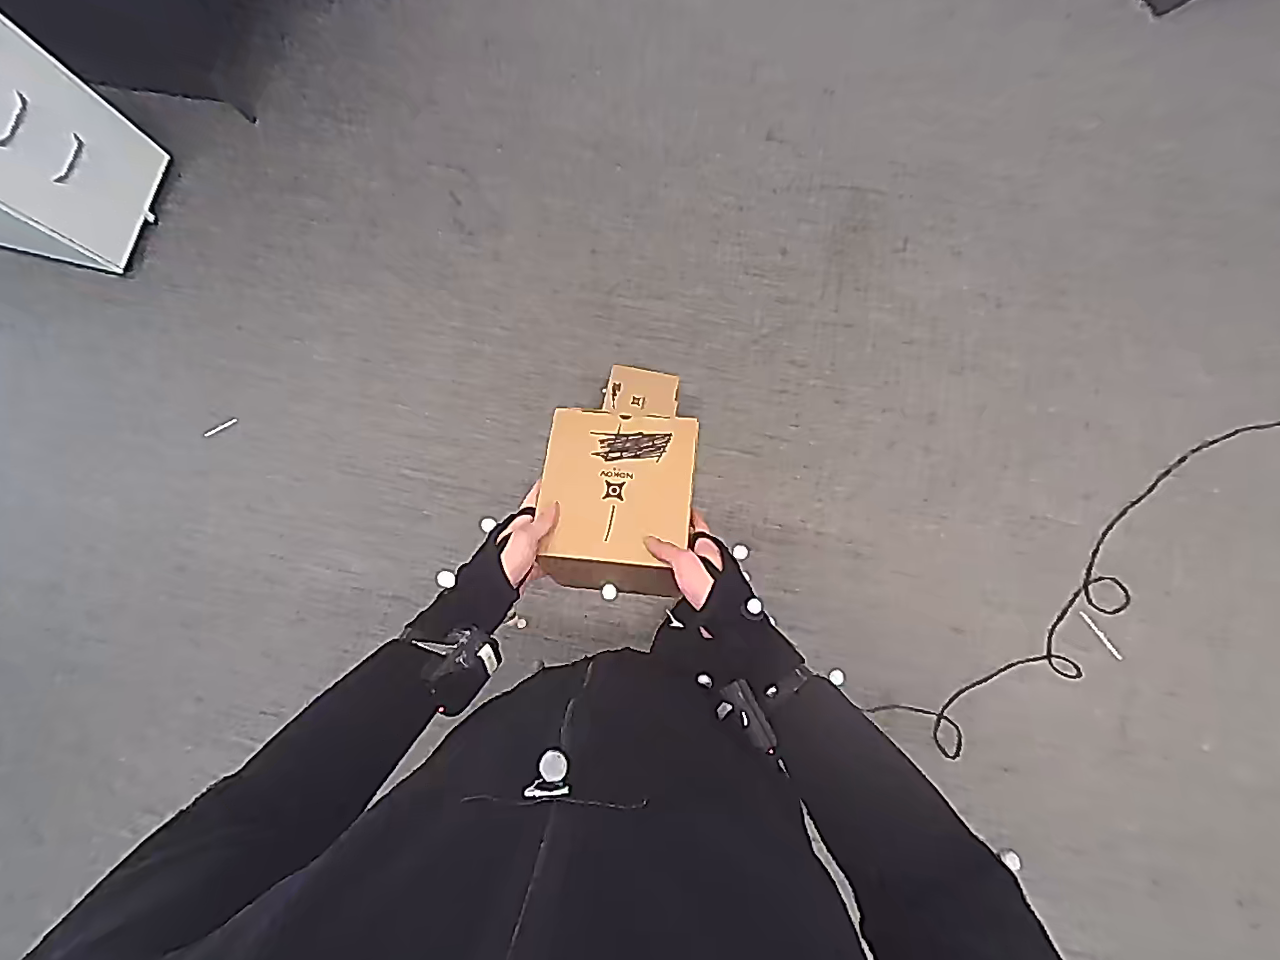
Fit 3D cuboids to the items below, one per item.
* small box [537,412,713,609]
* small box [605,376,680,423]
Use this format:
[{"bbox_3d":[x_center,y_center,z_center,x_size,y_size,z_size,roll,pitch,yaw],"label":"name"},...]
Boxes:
[{"bbox_3d":[-0.009,0.042,0.648,0.168,0.176,0.179,7,67,7],"label":"small box"},{"bbox_3d":[0.003,-0.158,1.427,0.179,0.176,0.168,10,82,4],"label":"small box"}]
